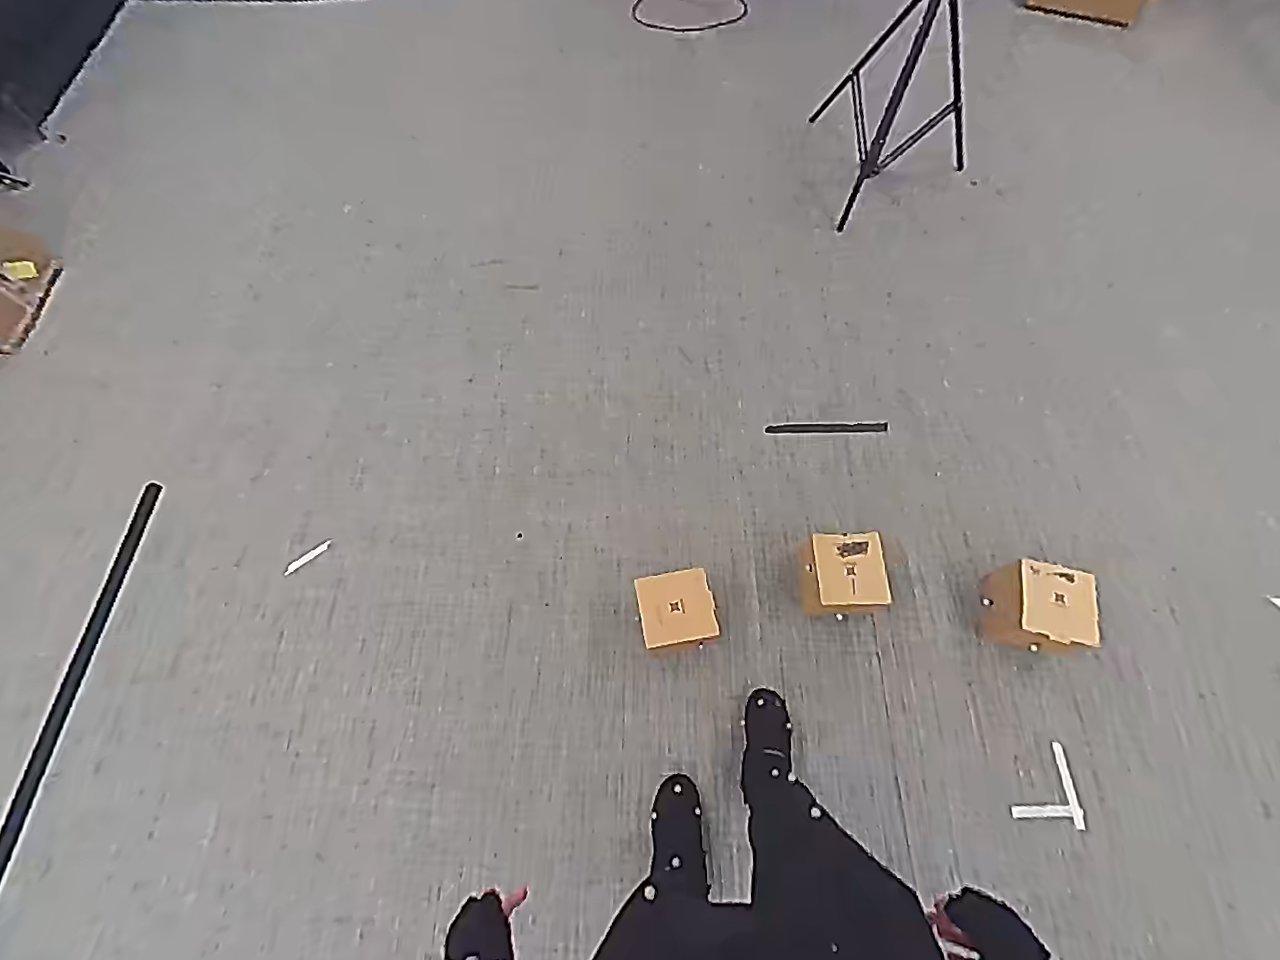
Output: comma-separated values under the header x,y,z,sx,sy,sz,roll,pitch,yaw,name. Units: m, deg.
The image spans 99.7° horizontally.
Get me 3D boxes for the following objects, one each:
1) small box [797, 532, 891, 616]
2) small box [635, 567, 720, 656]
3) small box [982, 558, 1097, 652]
x,y,z,sx,sy,sz,roll,pitch,yaw,name
0.501,0.239,1.357,0.168,0.176,0.179,-1,67,1,small box
0.088,0.328,1.334,0.179,0.176,0.168,-11,65,-2,small box
0.963,0.310,1.315,0.168,0.176,0.179,14,68,7,small box
